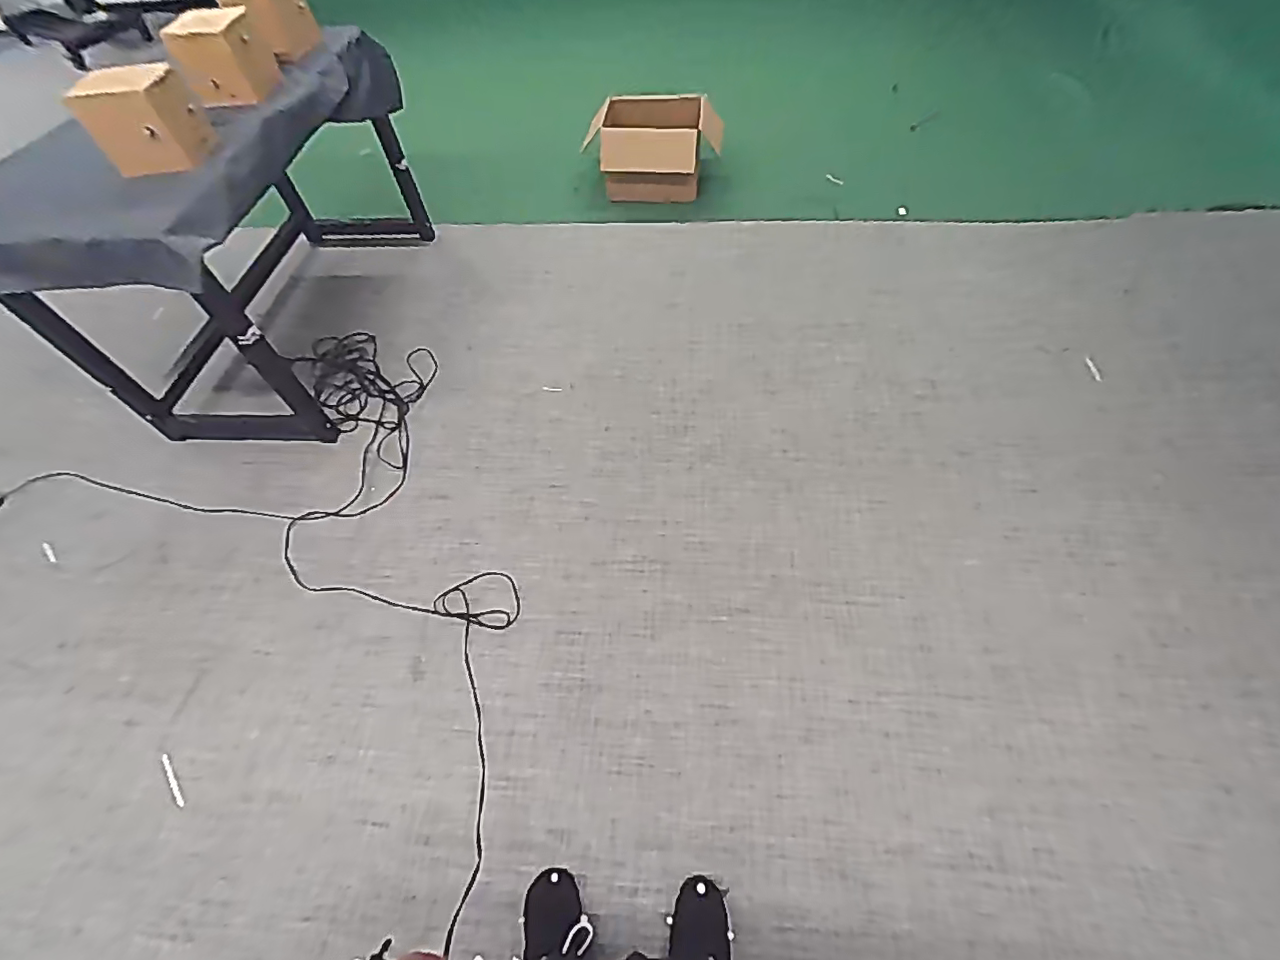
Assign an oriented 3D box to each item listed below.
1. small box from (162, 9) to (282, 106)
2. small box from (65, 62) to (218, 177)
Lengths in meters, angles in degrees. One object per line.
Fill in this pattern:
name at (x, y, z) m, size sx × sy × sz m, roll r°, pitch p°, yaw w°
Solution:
small box at (-1.124, -1.150, 1.475) m, size 0.168 × 0.176 × 0.179 m, roll -1°, pitch 57°, yaw 3°
small box at (-1.147, -0.840, 1.265) m, size 0.179 × 0.176 × 0.168 m, roll -8°, pitch 54°, yaw -1°
